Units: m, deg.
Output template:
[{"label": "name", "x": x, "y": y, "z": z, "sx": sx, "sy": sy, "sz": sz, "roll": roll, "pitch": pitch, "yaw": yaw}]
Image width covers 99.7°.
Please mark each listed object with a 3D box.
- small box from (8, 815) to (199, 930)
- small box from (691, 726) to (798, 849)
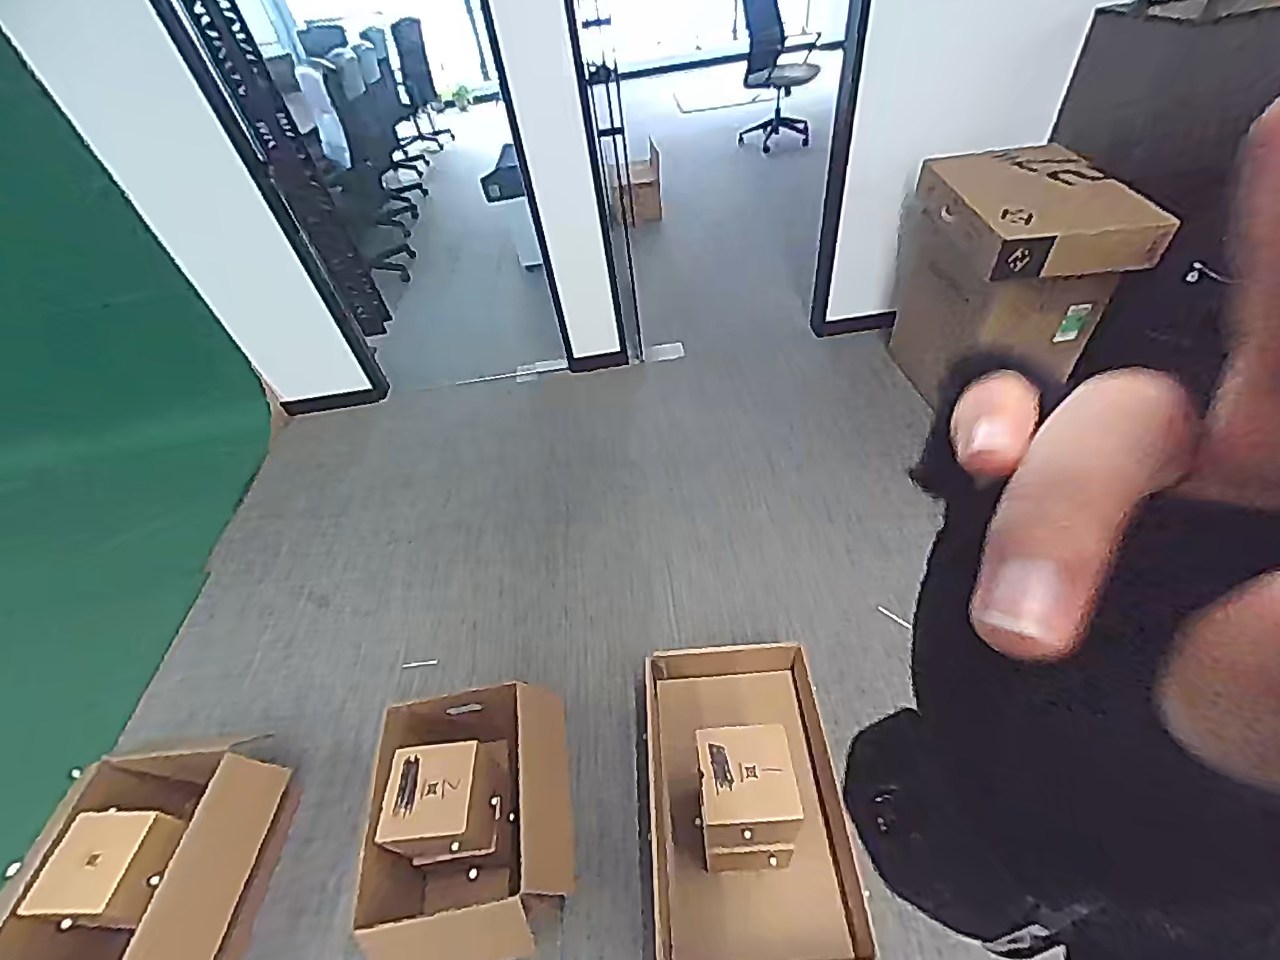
[{"label": "small box", "x": -1.059, "y": 0.791, "z": 1.090, "sx": 0.179, "sy": 0.176, "sz": 0.168, "roll": -4, "pitch": 44, "yaw": 3}, {"label": "small box", "x": 0.196, "y": 0.602, "z": 1.056, "sx": 0.179, "sy": 0.176, "sz": 0.168, "roll": -5, "pitch": 43, "yaw": 1}]
